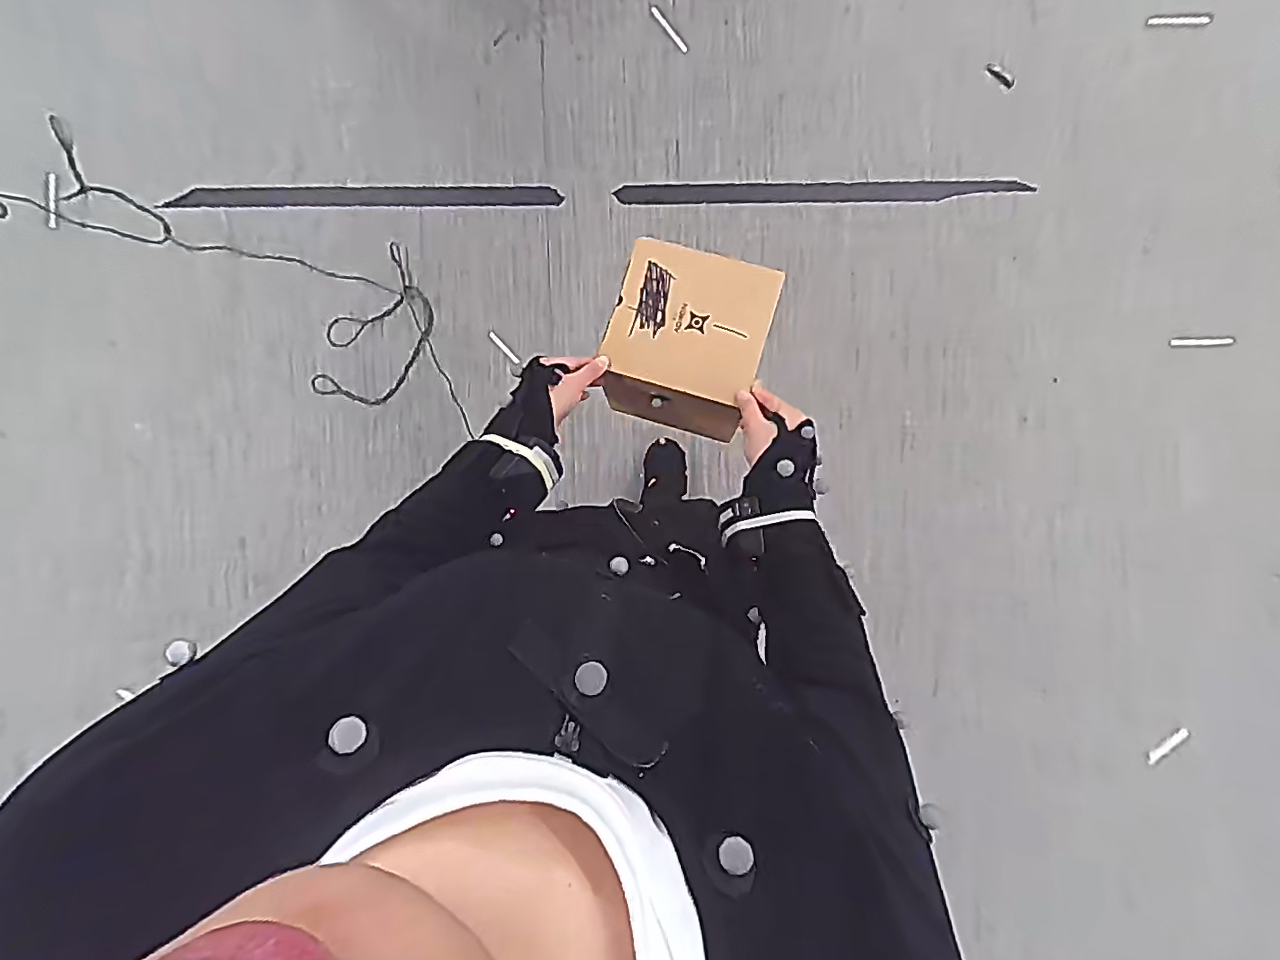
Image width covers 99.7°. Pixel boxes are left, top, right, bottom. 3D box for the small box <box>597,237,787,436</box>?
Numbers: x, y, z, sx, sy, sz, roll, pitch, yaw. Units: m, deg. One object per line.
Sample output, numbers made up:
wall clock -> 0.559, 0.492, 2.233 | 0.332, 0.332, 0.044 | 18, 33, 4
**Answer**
small box -> 0.063, -0.166, 0.678 | 0.179, 0.176, 0.168 | 17, 83, 5
